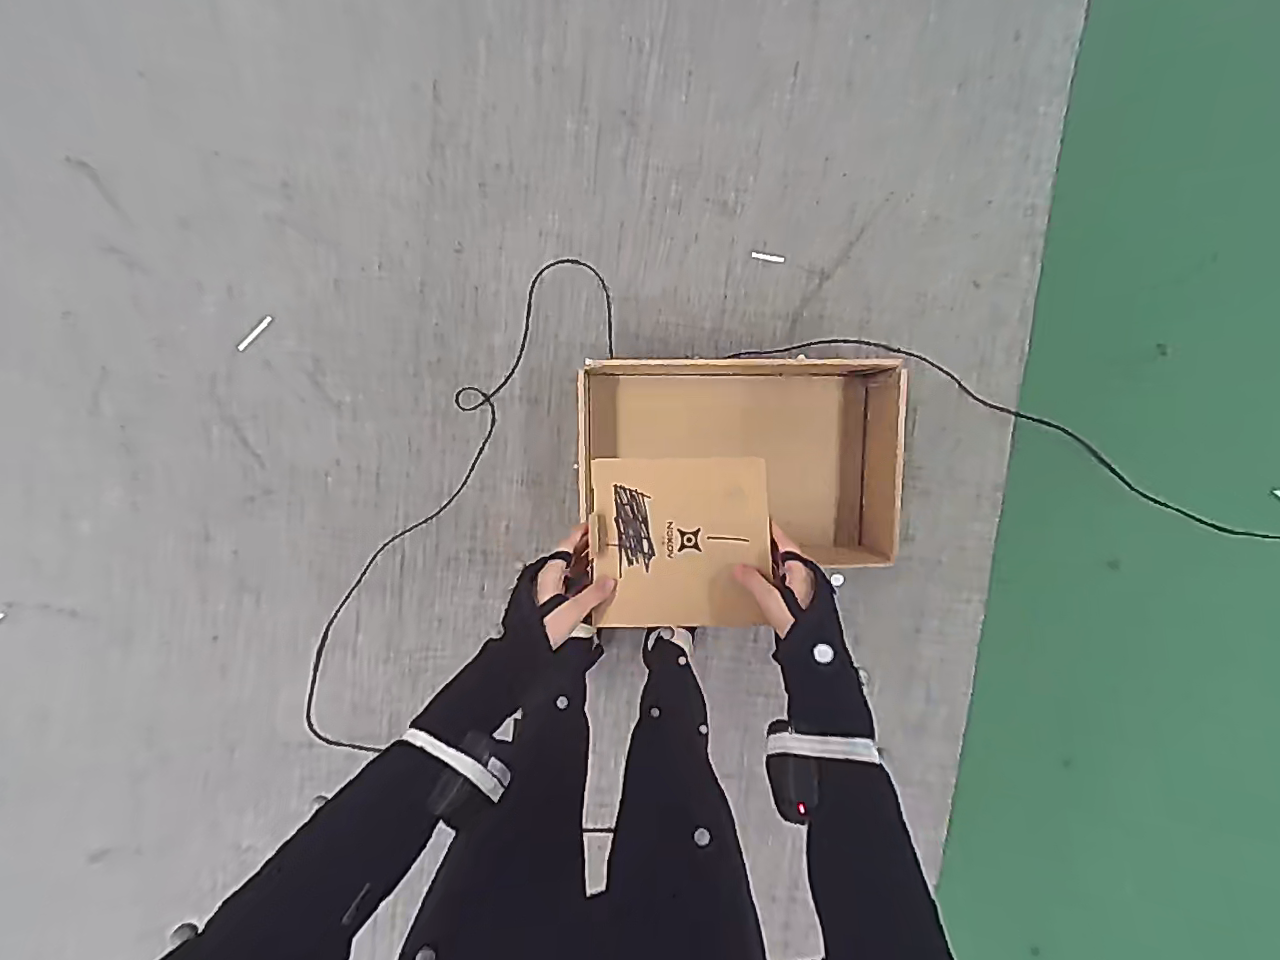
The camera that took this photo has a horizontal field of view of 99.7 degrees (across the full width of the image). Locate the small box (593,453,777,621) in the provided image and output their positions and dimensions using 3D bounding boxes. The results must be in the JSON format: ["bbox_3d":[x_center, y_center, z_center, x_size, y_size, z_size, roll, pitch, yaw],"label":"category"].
[{"bbox_3d":[0.044,0.072,0.604,0.179,0.176,0.168,0,76,0],"label":"small box"}]
